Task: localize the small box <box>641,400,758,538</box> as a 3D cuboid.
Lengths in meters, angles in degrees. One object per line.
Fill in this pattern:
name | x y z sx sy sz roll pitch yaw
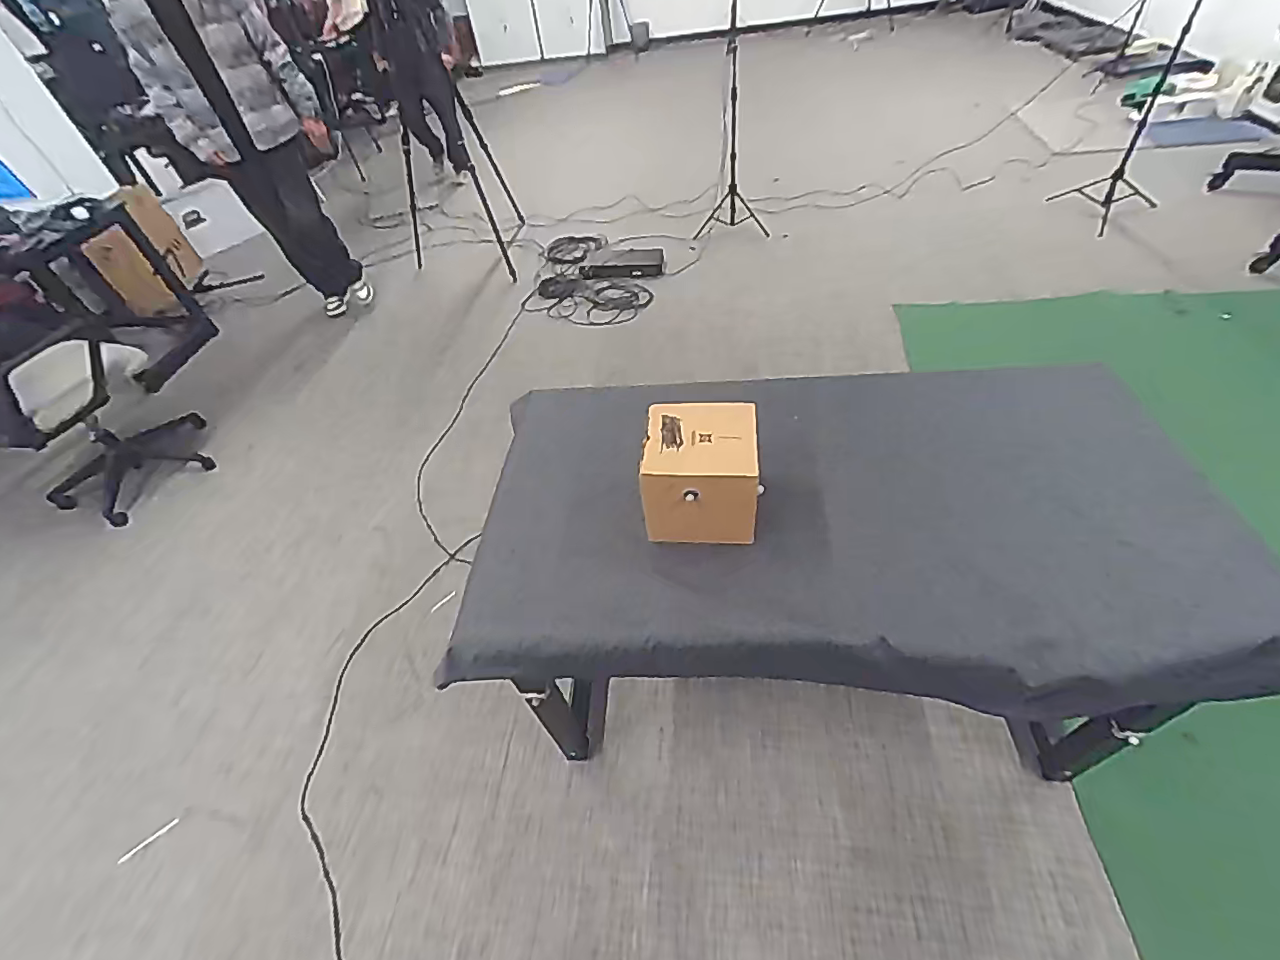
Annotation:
small box | 0.104 -0.017 0.903 0.179 0.176 0.168 1 48 8
